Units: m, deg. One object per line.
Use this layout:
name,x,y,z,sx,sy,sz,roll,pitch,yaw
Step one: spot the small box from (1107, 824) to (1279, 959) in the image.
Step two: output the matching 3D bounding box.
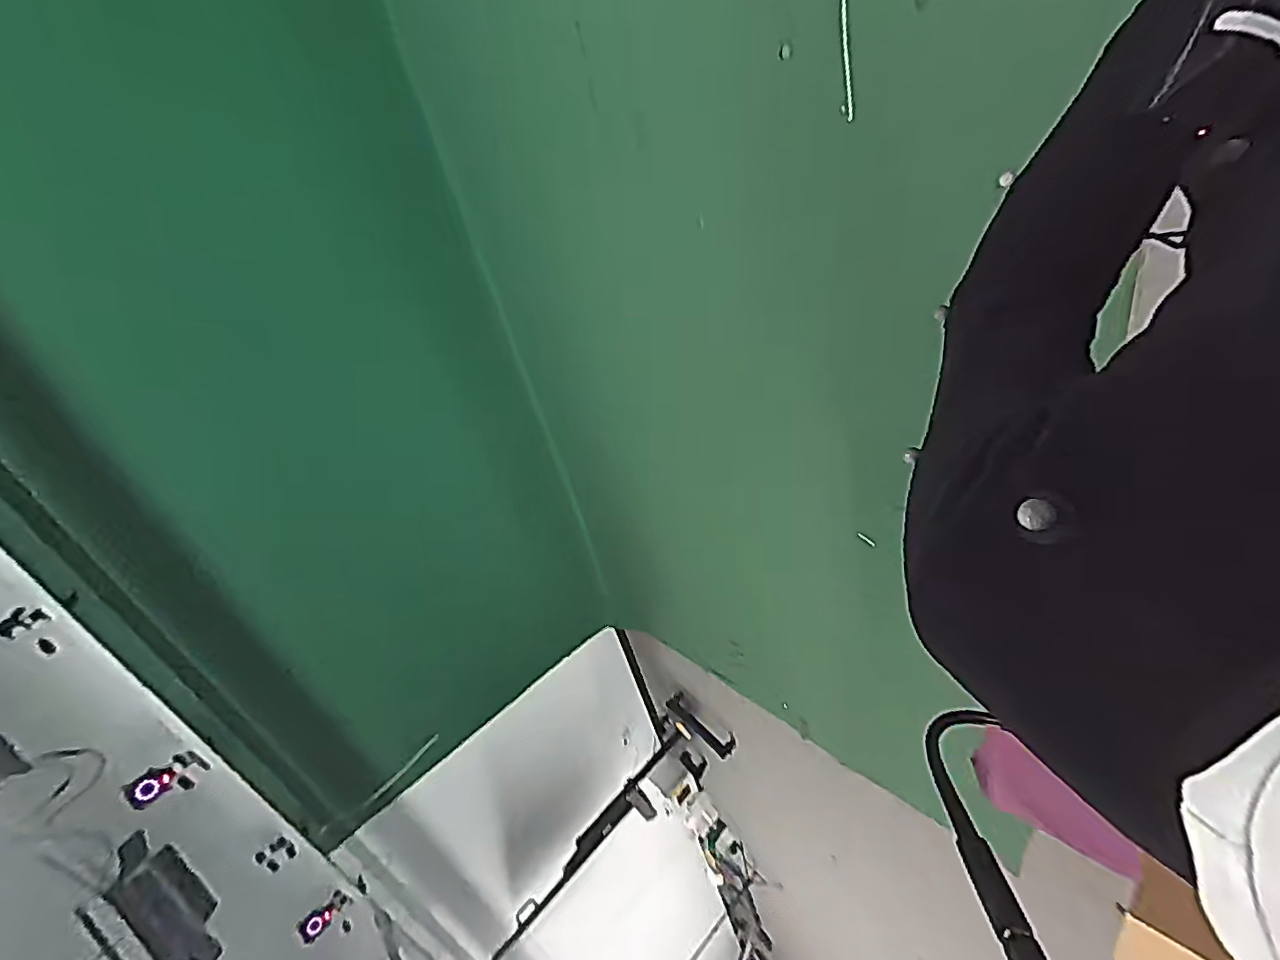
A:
small box,0.800,0.643,0.767,0.168,0.176,0.179,17,133,47
